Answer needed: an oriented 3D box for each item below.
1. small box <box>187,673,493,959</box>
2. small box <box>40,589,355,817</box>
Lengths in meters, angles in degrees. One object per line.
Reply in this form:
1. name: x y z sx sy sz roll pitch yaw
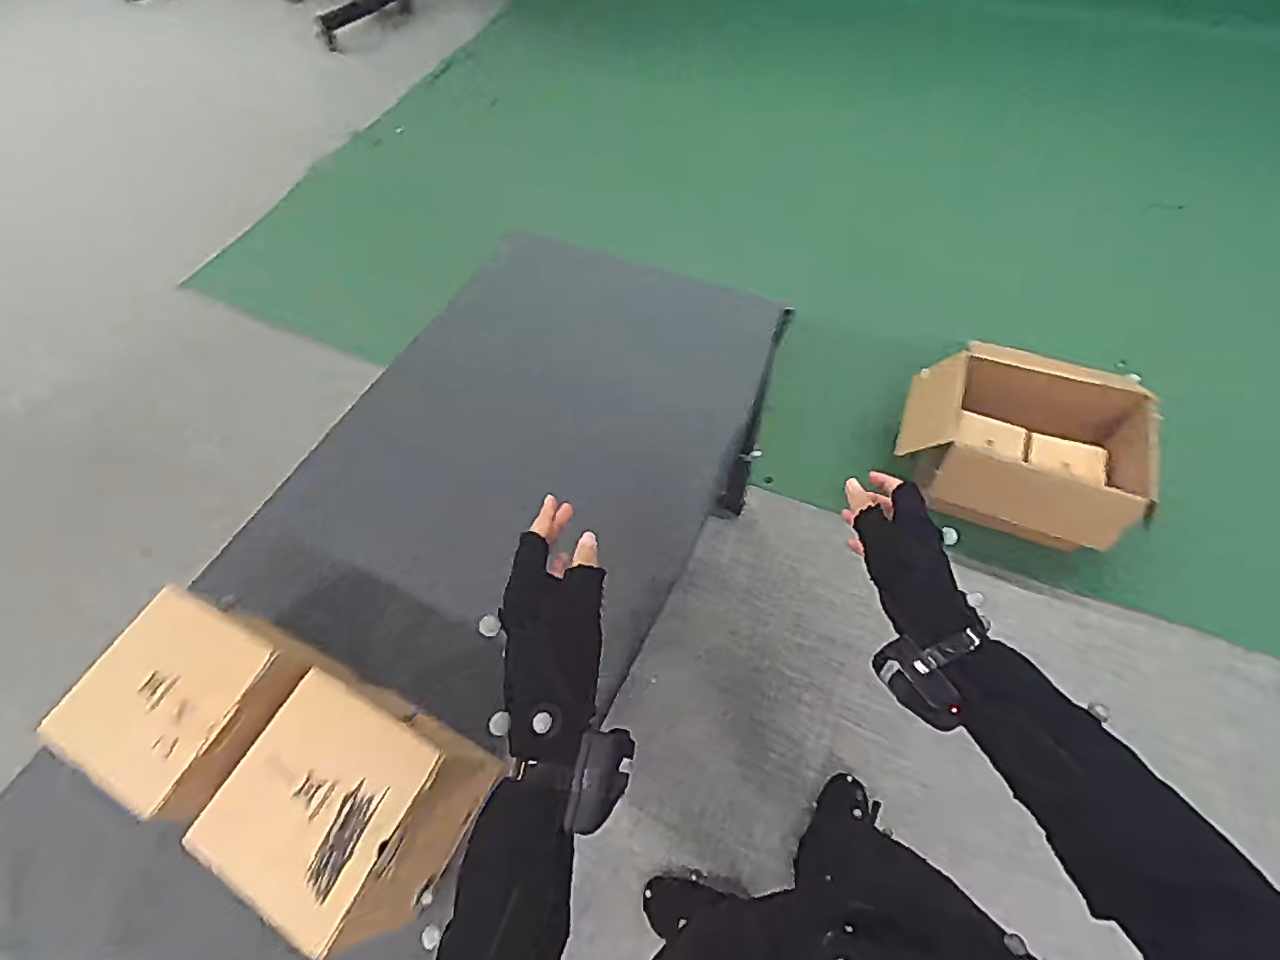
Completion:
1. small box: -0.281 0.324 0.552 0.179 0.176 0.168 21 64 18
2. small box: -0.476 0.253 0.612 0.179 0.176 0.168 21 65 16
